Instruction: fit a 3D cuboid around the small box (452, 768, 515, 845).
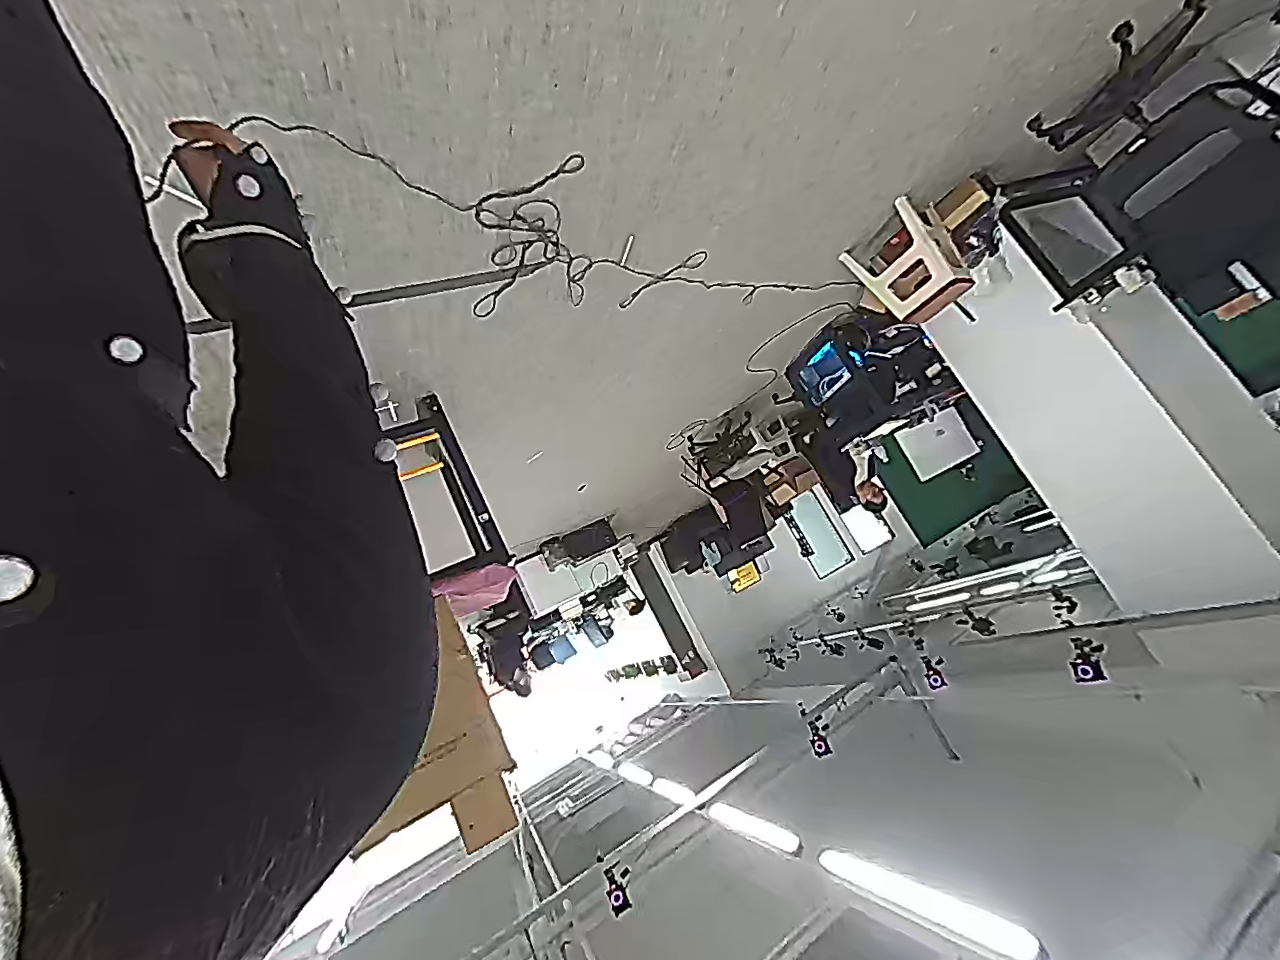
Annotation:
[{"bbox_3d":[-0.561,1.157,1.937,0.168,0.176,0.179,-22,166,-23],"label":"small box"}]
